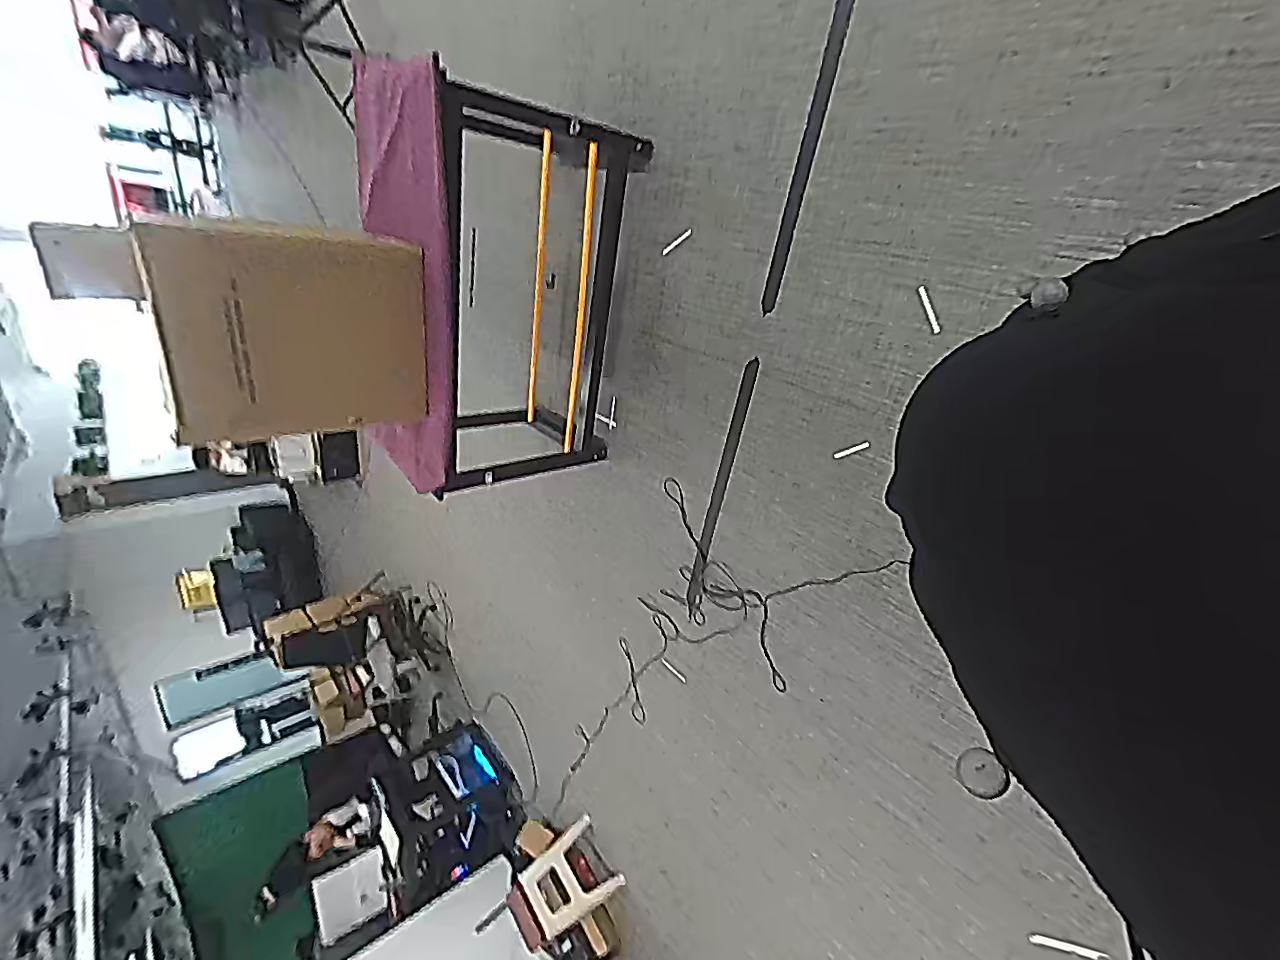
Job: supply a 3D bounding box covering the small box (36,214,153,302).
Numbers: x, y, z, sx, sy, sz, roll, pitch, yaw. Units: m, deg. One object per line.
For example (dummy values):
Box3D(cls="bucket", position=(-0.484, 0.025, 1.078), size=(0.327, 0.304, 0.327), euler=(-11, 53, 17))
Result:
Box3D(cls="small box", position=(-1.324, -0.540, 1.324), size=(0.168, 0.176, 0.179), euler=(31, 123, 40))
